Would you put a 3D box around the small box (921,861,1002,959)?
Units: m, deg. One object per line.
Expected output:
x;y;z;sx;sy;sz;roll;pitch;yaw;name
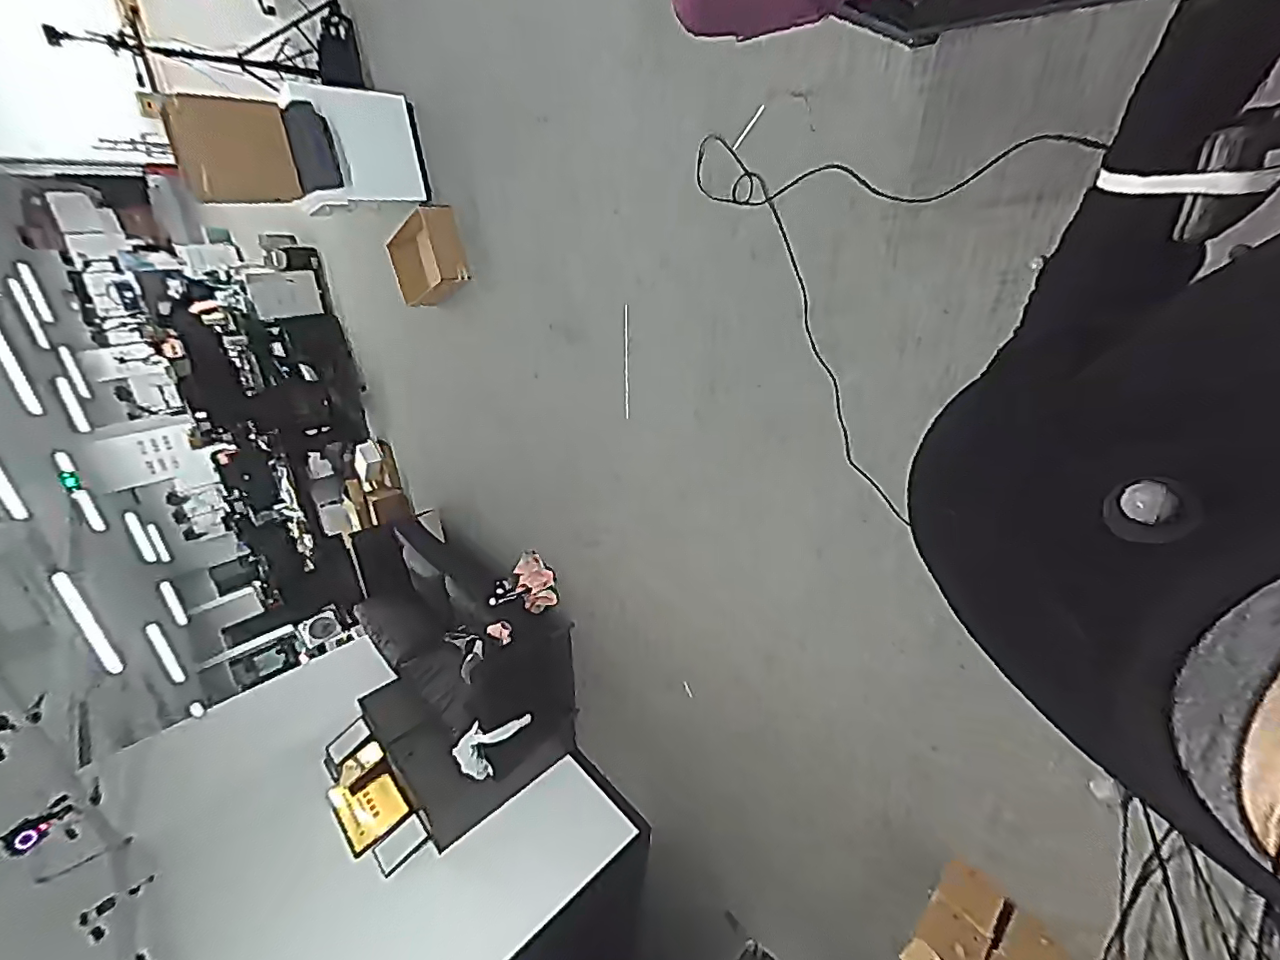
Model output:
1.072;1.433;1.798;0.168;0.176;0.179;27;126;40;small box
